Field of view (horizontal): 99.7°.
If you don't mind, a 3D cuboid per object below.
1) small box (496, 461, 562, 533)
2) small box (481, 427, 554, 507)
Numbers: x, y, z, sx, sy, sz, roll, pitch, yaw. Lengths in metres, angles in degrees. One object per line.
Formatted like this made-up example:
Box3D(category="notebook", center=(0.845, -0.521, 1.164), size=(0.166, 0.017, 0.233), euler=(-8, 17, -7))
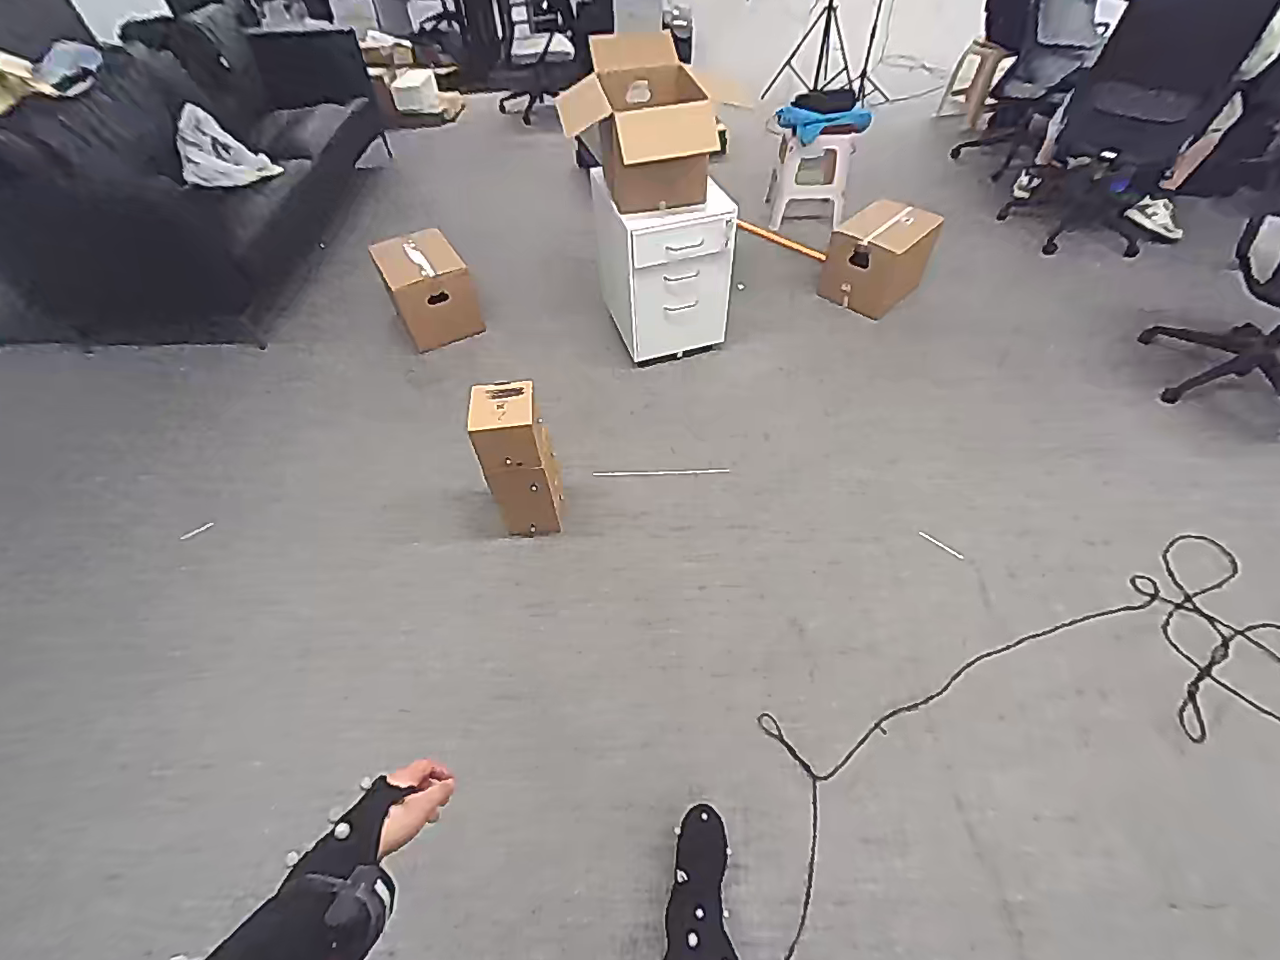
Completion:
Box3D(category="small box", center=(-0.350, 0.057, 1.744), size=(0.179, 0.176, 0.168), euler=(-3, 51, 1))
Box3D(category="small box", center=(-0.356, -0.036, 1.610), size=(0.179, 0.176, 0.168), euler=(-6, 50, 0))
